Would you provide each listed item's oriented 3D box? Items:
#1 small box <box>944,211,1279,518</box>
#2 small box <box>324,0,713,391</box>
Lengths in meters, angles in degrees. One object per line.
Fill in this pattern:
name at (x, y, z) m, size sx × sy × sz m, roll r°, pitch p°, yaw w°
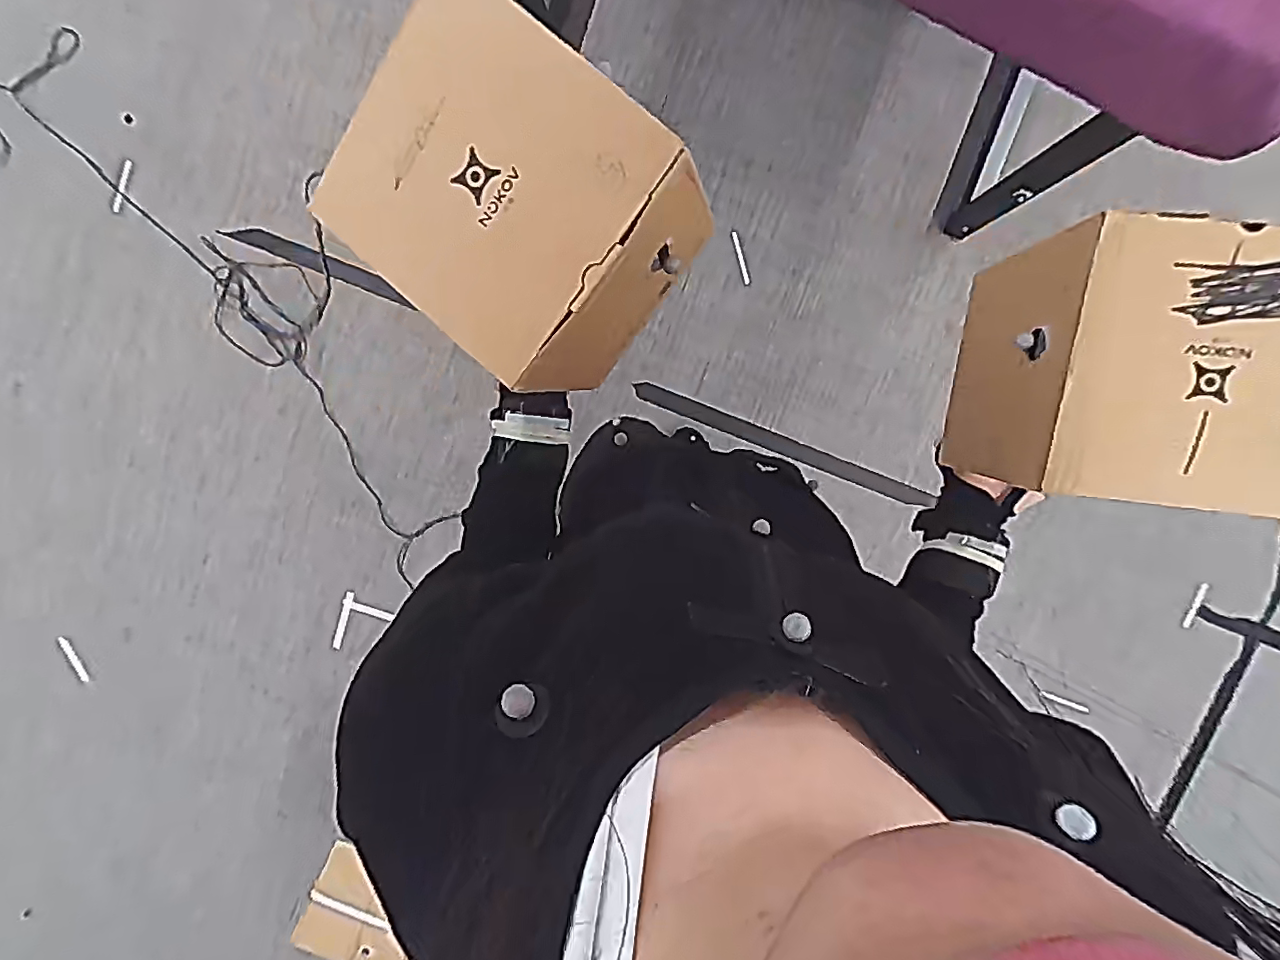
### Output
small box at (0.362, -0.080, 0.413) m, size 0.168 × 0.176 × 0.179 m, roll 7°, pitch 99°, yaw 7°
small box at (-0.065, -0.183, 0.387) m, size 0.179 × 0.176 × 0.168 m, roll 42°, pitch 105°, yaw 4°
